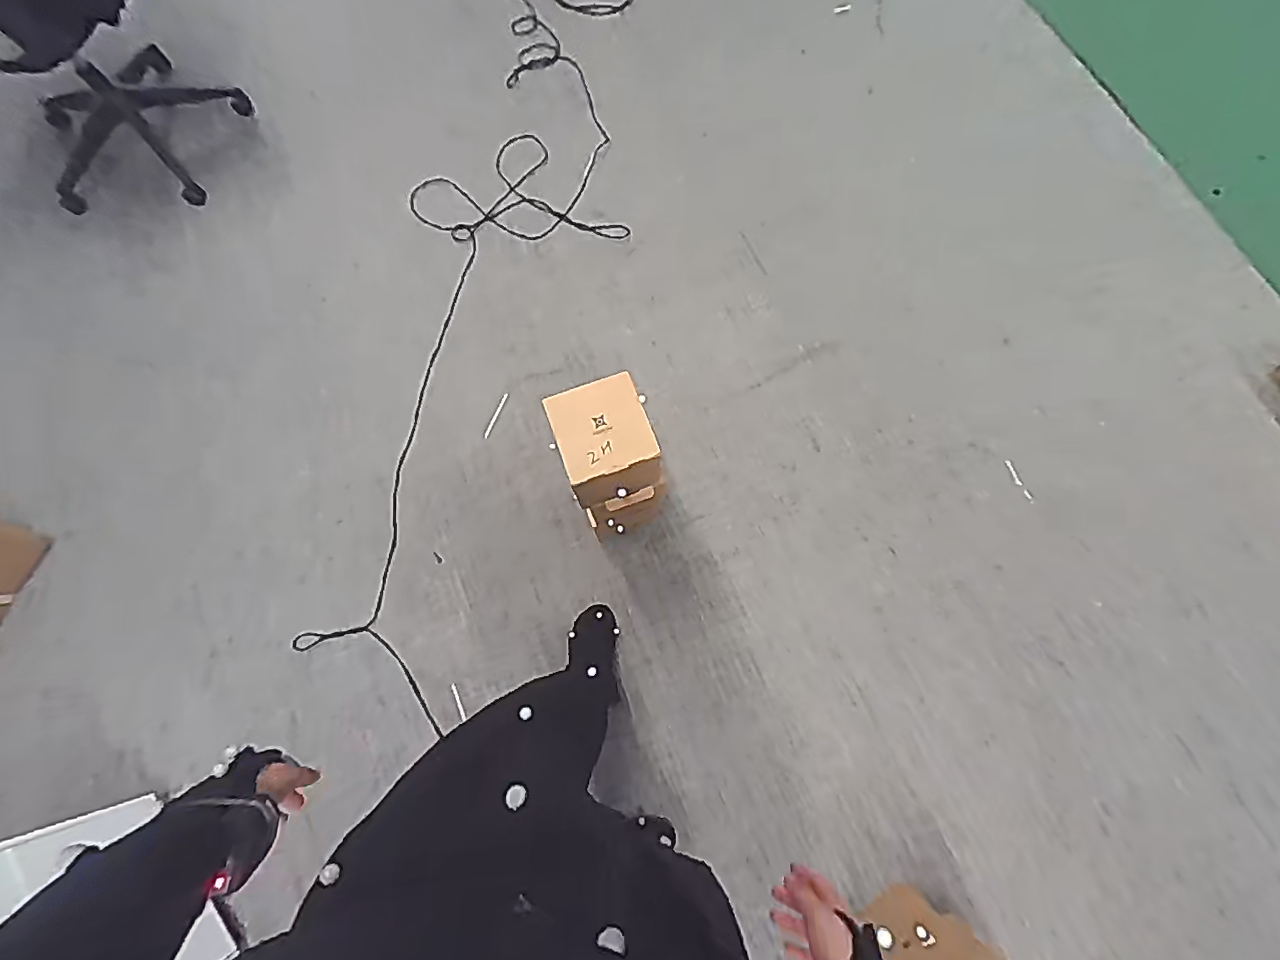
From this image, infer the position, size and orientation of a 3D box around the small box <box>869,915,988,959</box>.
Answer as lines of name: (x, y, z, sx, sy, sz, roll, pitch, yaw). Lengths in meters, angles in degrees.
small box: (0.529, 0.903, 0.918, 0.168, 0.176, 0.179, -23, 74, -7)

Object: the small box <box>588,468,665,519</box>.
small box: (-0.050, -0.024, 1.180, 0.168, 0.176, 0.179, -19, 73, -5)

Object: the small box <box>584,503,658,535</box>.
small box: (-0.059, 0.027, 1.336, 0.168, 0.176, 0.179, -20, 74, -5)

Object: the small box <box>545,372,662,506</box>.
small box: (-0.066, -0.071, 1.022, 0.168, 0.176, 0.179, -20, 74, -5)
